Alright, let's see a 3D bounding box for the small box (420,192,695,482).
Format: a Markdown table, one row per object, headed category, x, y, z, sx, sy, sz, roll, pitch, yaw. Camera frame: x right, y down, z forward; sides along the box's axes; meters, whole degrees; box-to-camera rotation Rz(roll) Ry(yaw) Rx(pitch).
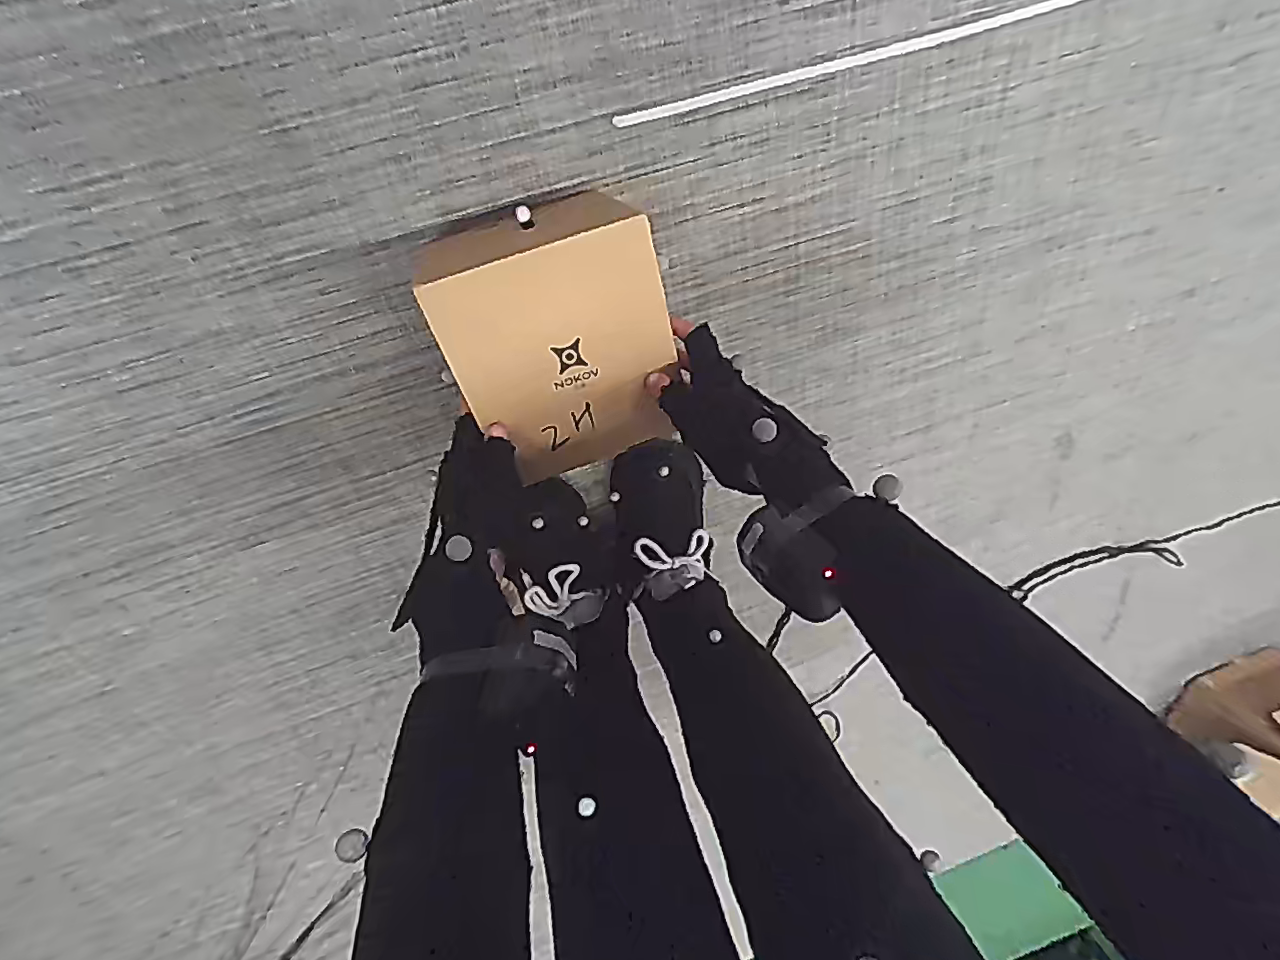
| category | x | y | z | sx | sy | sz | roll | pitch | yaw |
| --- | --- | --- | --- | --- | --- | --- | --- | --- | --- |
| small box | -0.069 | -0.133 | 0.467 | 0.168 | 0.176 | 0.179 | -20 | 126 | -4 |
